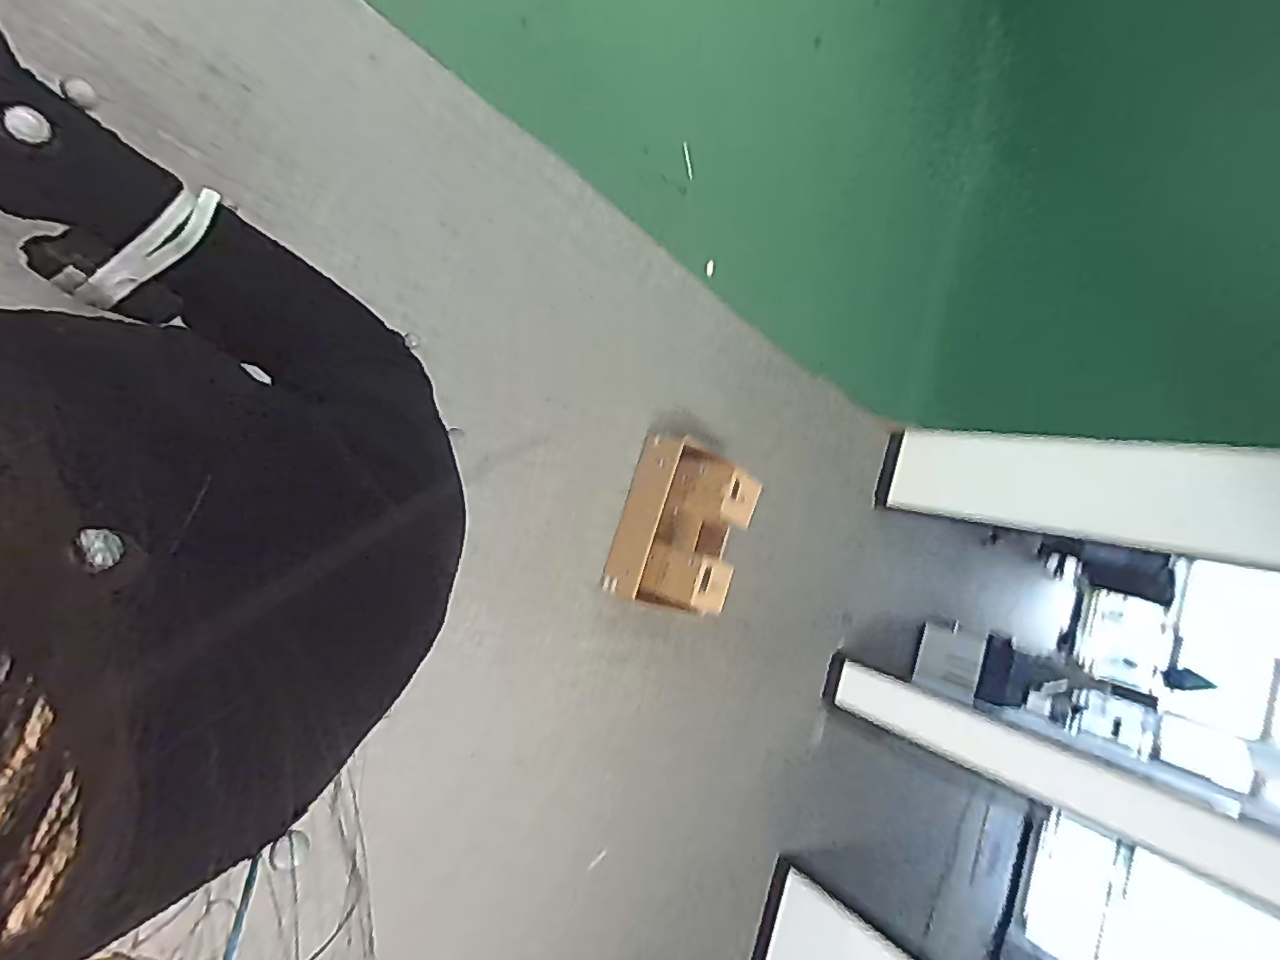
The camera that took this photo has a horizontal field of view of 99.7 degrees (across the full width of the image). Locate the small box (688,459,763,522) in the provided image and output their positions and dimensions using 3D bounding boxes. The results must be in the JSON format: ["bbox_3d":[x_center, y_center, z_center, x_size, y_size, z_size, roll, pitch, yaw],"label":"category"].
[{"bbox_3d":[0.296,0.032,1.905,0.179,0.176,0.168,30,79,-41],"label":"small box"}]
